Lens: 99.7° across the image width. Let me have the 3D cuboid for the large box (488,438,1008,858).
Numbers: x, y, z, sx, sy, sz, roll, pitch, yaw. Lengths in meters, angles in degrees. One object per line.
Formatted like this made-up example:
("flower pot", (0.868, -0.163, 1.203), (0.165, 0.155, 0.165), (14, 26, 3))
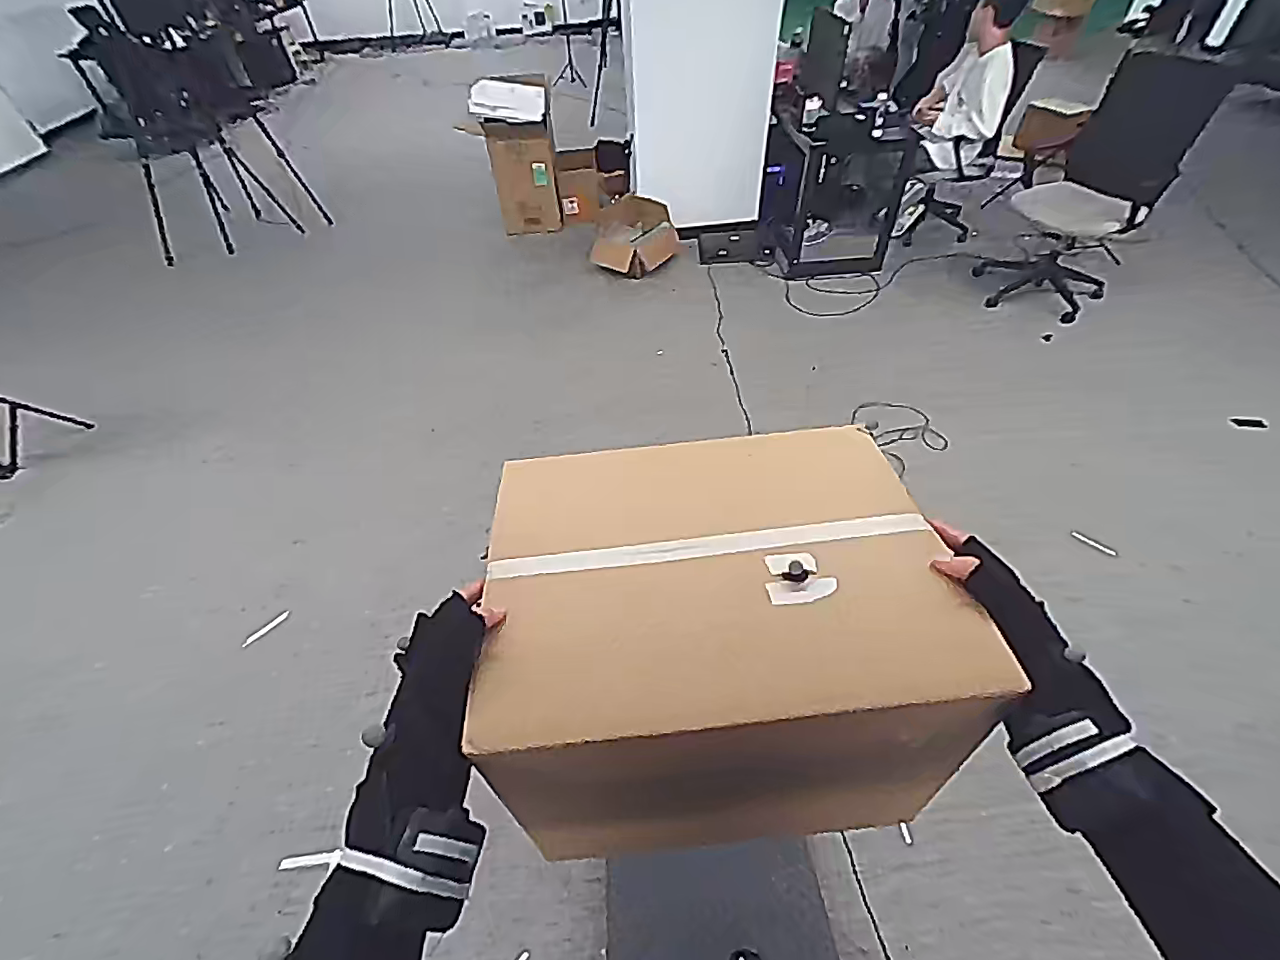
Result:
("large box", (0.079, 0.184, 0.609), (0.408, 0.320, 0.320), (-6, 43, -1))
